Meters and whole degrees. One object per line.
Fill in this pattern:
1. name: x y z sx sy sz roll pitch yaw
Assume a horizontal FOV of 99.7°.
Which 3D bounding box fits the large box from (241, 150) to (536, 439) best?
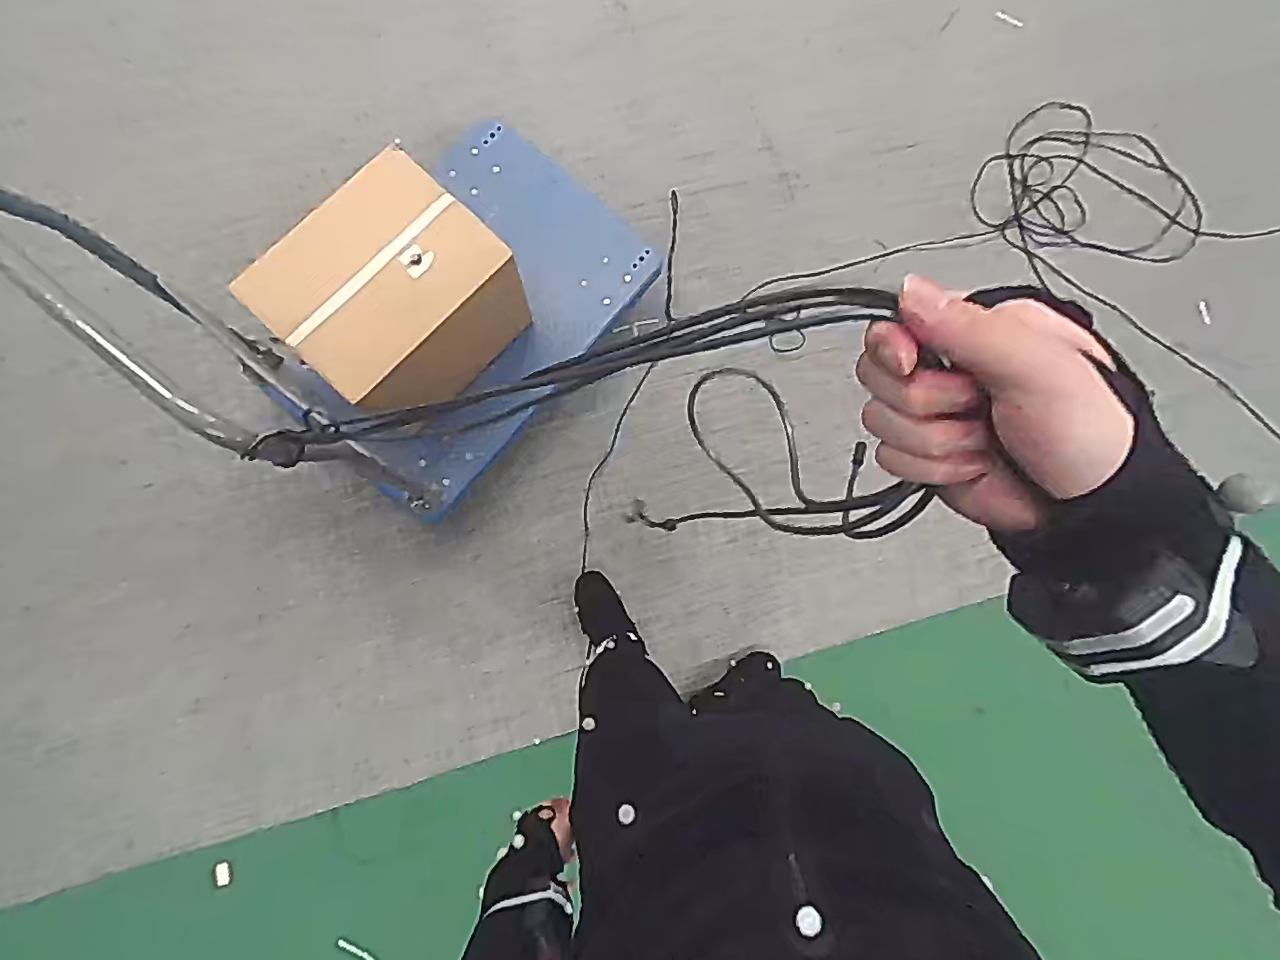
1. large box: -0.475 -0.351 1.119 0.320 0.320 0.408 43 81 1
